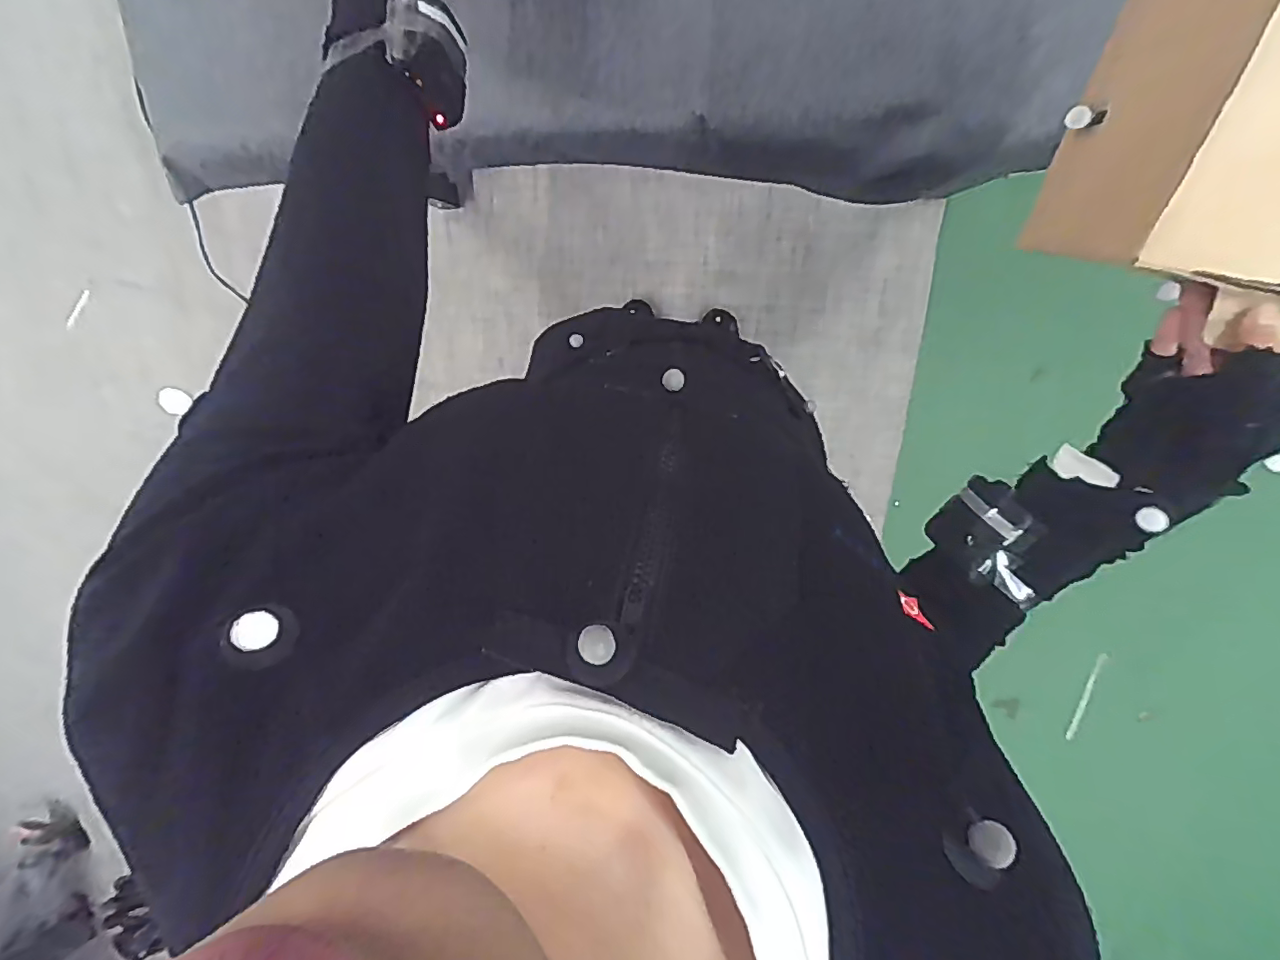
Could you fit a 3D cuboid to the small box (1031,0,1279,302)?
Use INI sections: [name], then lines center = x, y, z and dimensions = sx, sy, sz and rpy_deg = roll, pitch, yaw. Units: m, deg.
[small box]
center = 0.384, -0.213, 0.328
dimensions = 0.168, 0.176, 0.179
rpy_deg = 14, 119, 4
